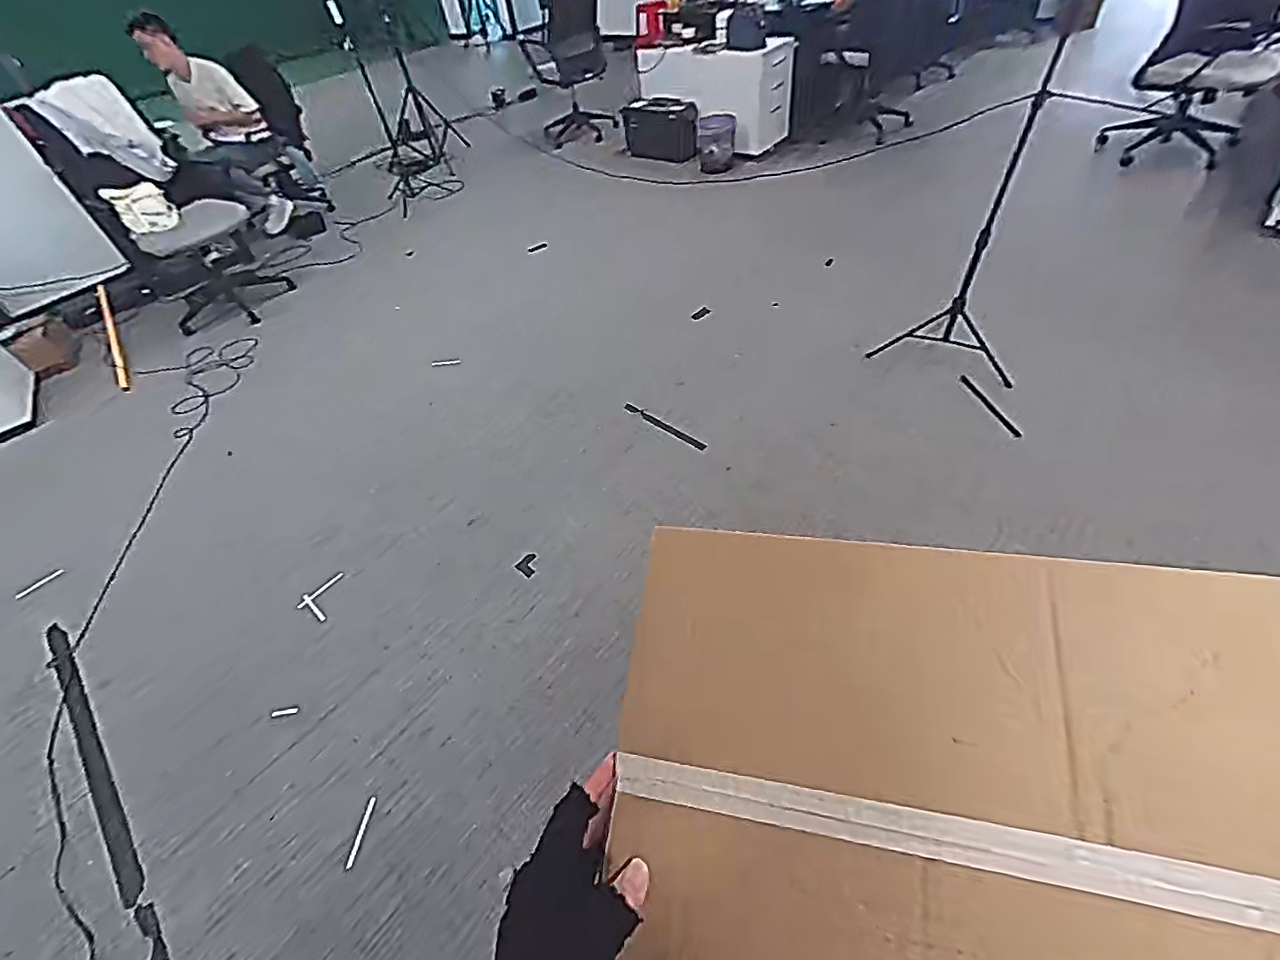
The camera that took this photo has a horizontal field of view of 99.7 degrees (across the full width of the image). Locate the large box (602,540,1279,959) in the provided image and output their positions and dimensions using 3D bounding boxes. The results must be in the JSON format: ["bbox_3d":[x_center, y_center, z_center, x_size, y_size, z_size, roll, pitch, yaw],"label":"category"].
[{"bbox_3d":[0.214,0.252,0.416,0.408,0.320,0.320,3,68,16],"label":"large box"}]
